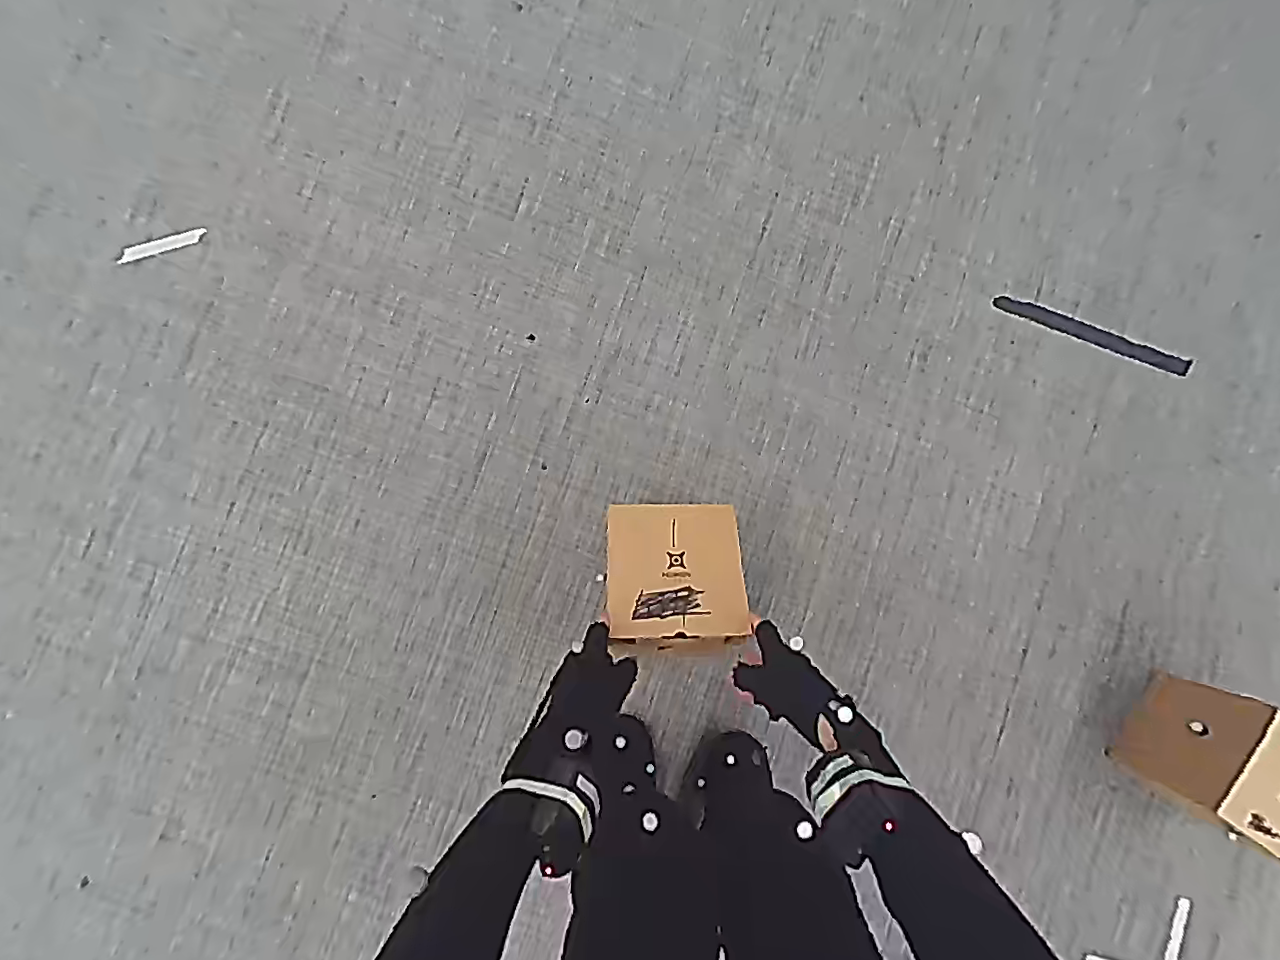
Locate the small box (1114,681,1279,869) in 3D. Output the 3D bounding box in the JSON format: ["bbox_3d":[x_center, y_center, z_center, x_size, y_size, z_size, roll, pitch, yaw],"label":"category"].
[{"bbox_3d":[0.889,0.438,0.820,0.168,0.176,0.179,35,85,-1],"label":"small box"}]

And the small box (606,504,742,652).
[{"bbox_3d":[0.040,0.142,0.746,0.168,0.176,0.179,1,67,-3],"label":"small box"}]
